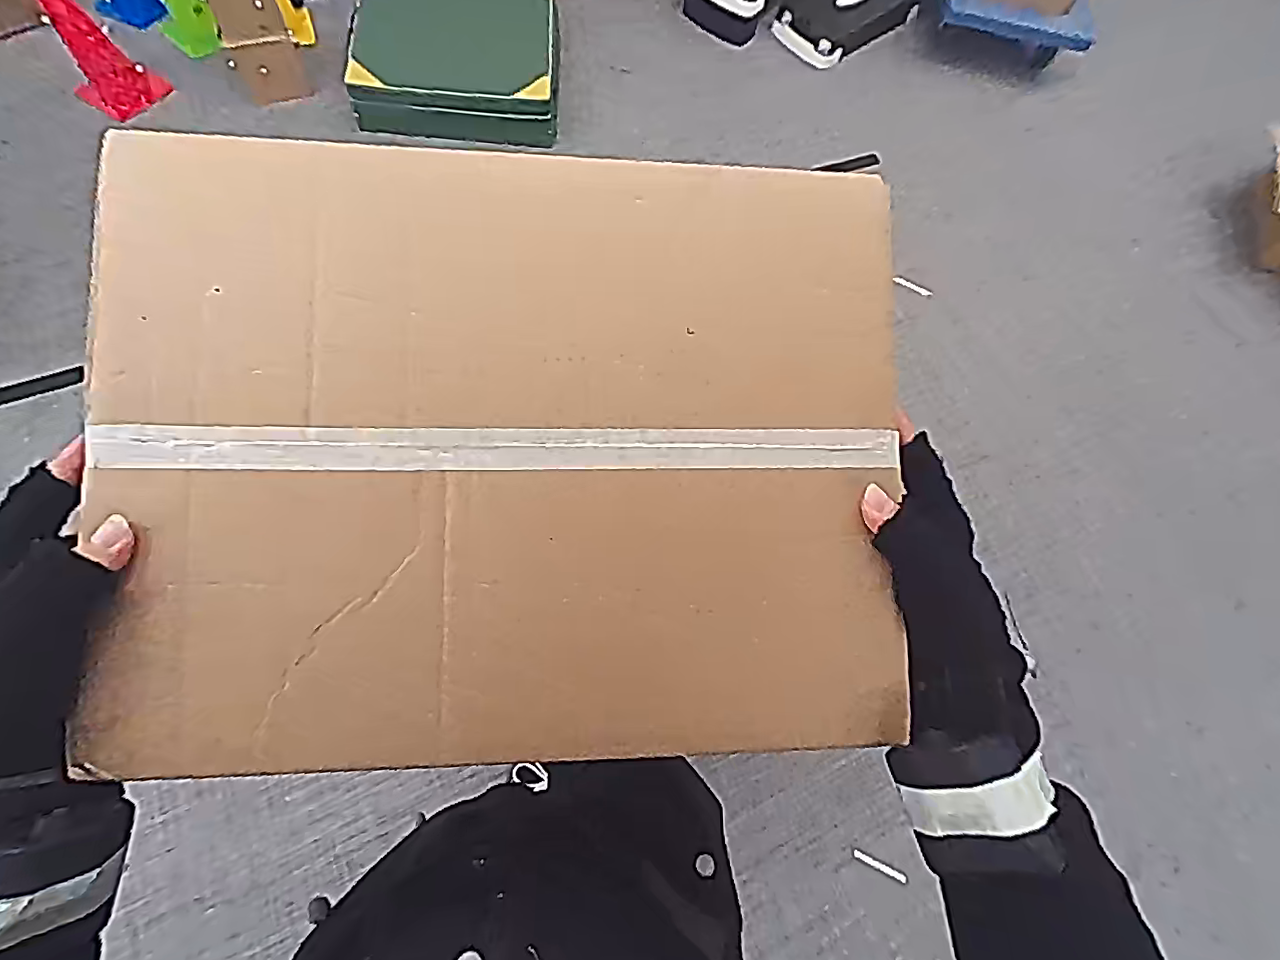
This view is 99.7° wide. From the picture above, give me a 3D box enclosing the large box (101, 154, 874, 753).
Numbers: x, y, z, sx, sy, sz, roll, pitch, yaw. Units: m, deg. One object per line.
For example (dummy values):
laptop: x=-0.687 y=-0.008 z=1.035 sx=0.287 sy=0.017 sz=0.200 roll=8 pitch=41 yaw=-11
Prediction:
large box: x=-0.080 y=-0.013 z=0.440 sx=0.408 sy=0.320 sz=0.320 roll=0 pitch=86 yaw=-6
